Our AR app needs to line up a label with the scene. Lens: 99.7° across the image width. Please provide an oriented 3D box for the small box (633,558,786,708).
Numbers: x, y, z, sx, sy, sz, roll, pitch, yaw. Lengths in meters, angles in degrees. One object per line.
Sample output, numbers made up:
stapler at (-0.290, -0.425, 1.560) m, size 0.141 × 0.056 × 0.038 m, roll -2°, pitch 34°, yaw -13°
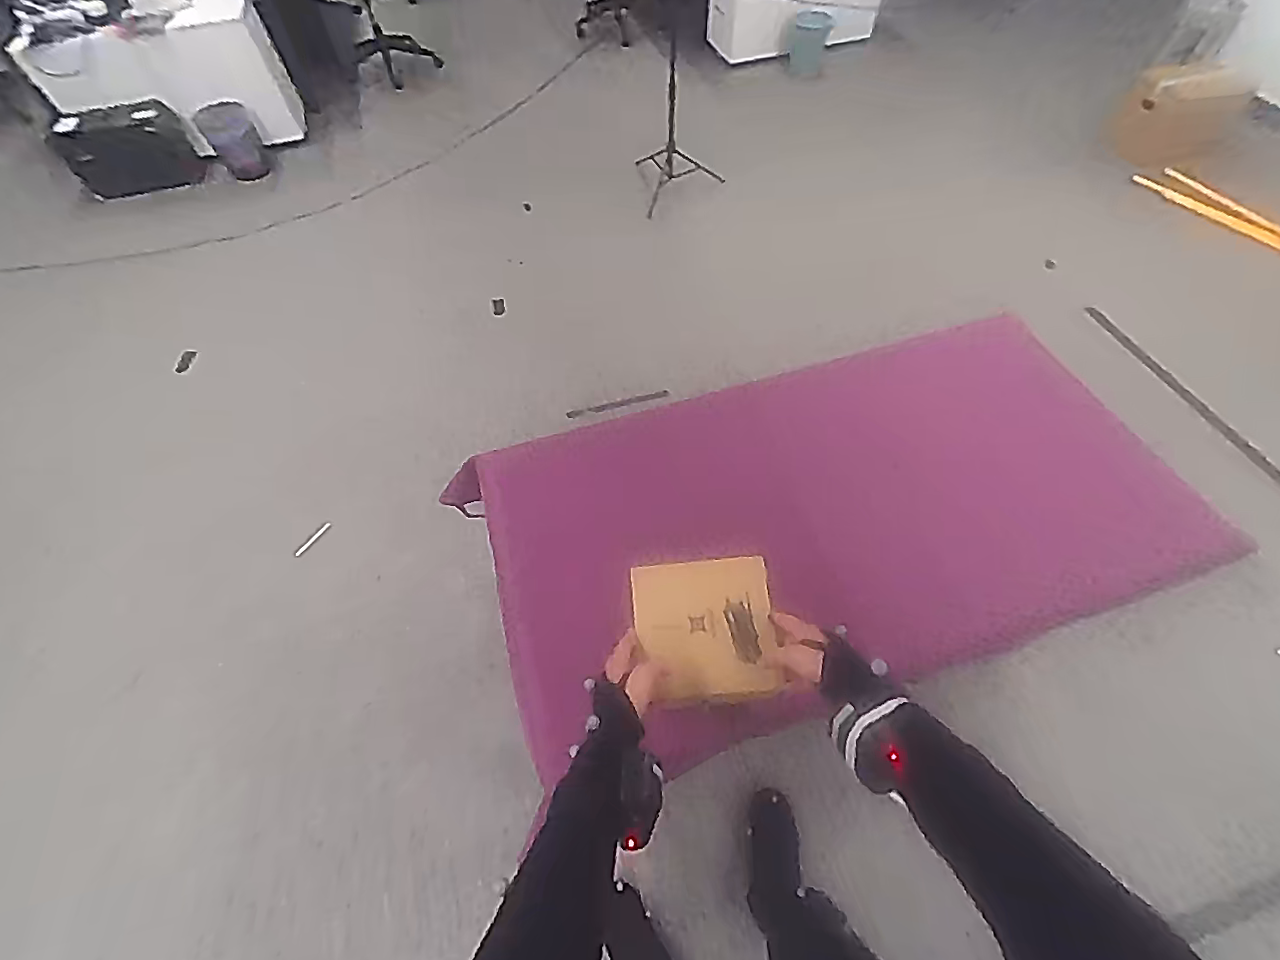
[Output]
small box at (0.085, 0.216, 0.743) m, size 0.179 × 0.176 × 0.168 m, roll -6°, pitch 63°, yaw 1°
